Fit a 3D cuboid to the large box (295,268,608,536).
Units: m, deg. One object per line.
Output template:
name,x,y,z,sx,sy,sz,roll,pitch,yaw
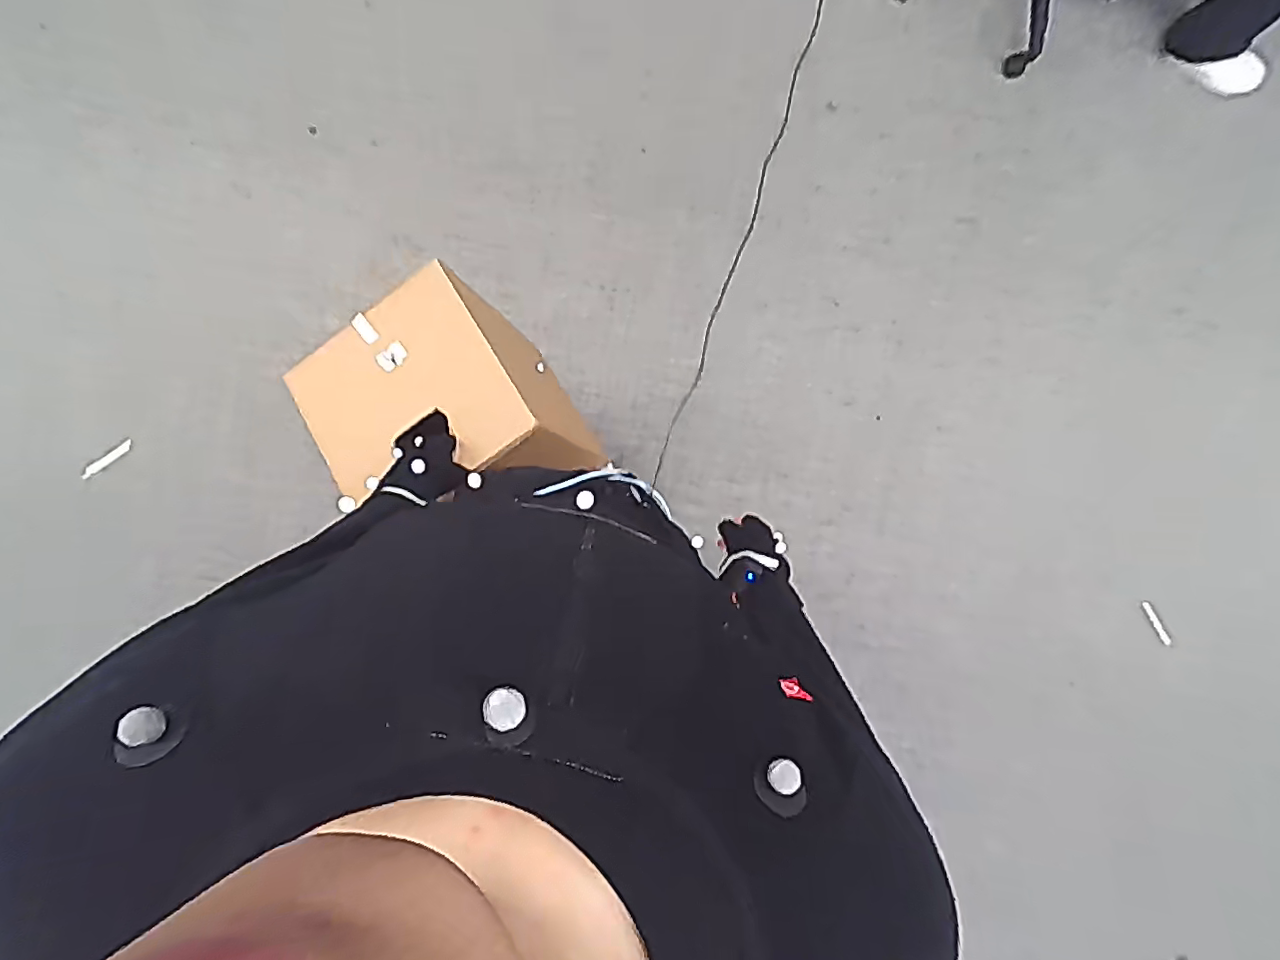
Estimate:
large box,-0.312,-0.109,1.001,0.320,0.408,0.320,-32,80,8
